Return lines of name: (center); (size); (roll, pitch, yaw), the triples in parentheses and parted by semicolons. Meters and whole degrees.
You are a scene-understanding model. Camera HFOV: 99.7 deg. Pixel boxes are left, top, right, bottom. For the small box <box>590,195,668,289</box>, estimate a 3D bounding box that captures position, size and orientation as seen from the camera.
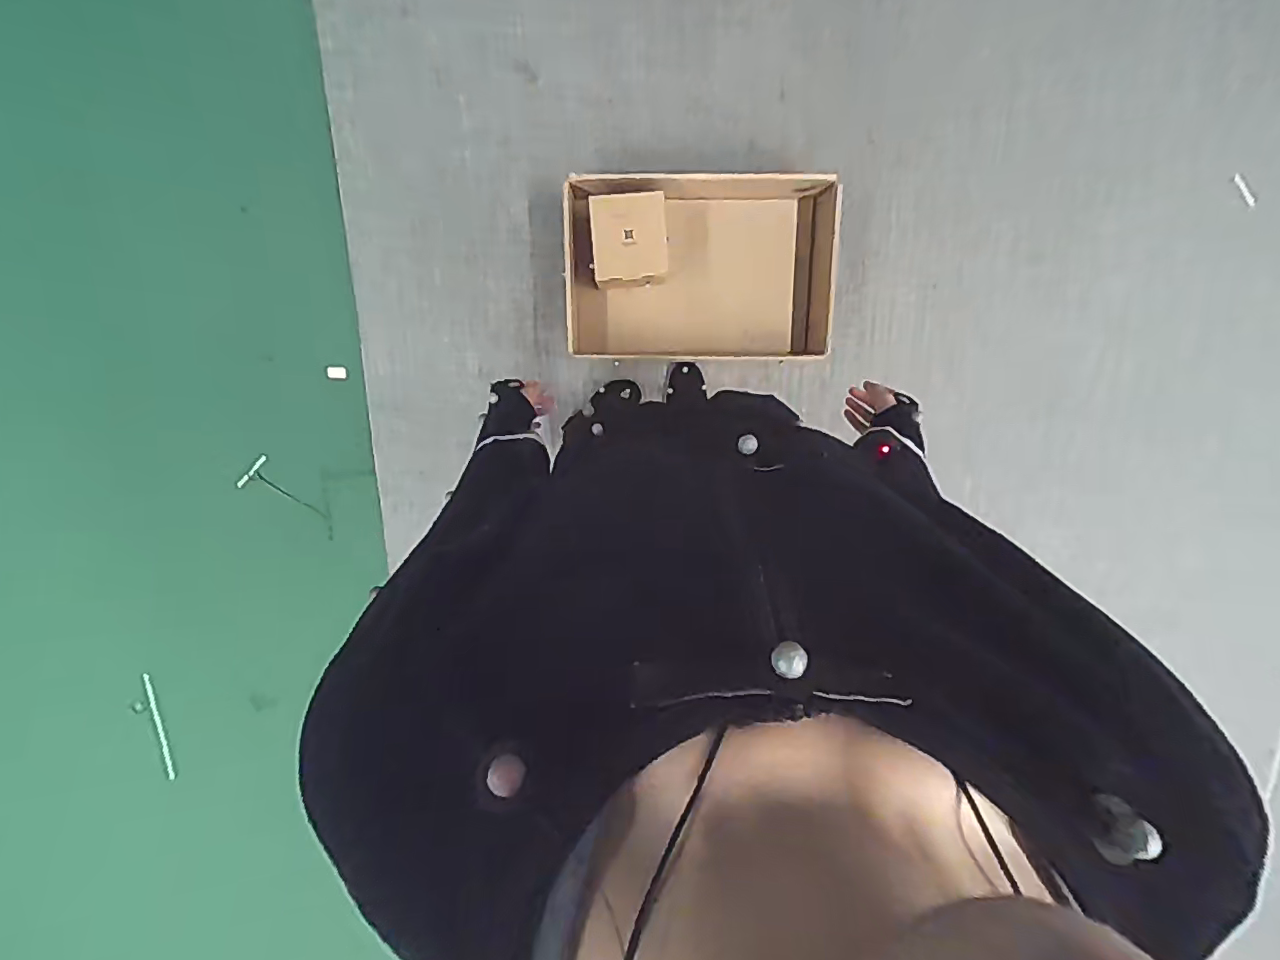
small box: (-0.022, -0.542, 1.256); (0.168, 0.176, 0.179); (-3, 103, 0)
